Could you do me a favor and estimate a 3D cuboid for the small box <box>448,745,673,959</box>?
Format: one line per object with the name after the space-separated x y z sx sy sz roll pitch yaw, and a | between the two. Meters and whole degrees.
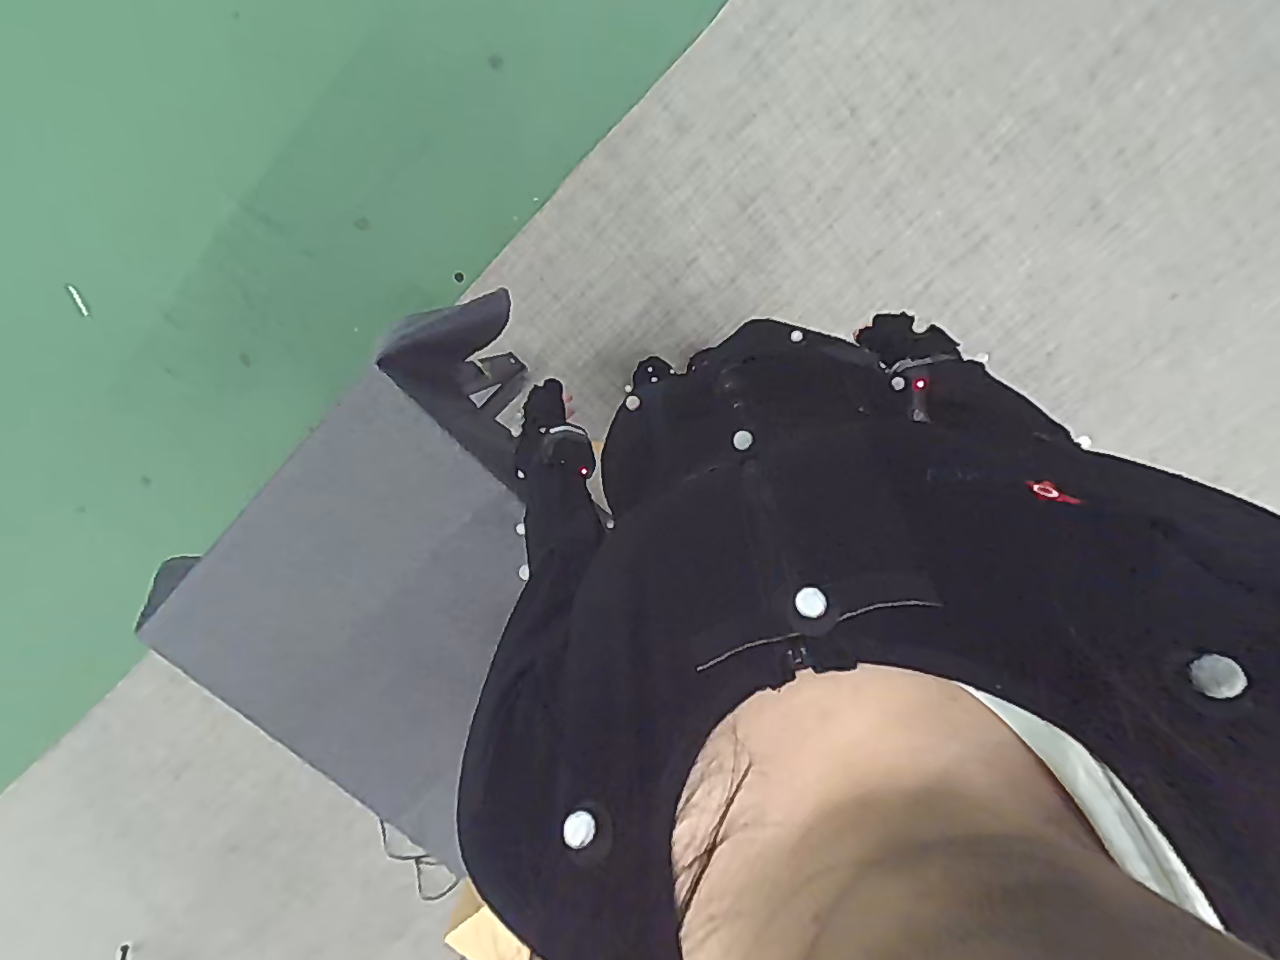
-0.081 0.447 0.630 0.168 0.176 0.179 -43 100 12 | small box
